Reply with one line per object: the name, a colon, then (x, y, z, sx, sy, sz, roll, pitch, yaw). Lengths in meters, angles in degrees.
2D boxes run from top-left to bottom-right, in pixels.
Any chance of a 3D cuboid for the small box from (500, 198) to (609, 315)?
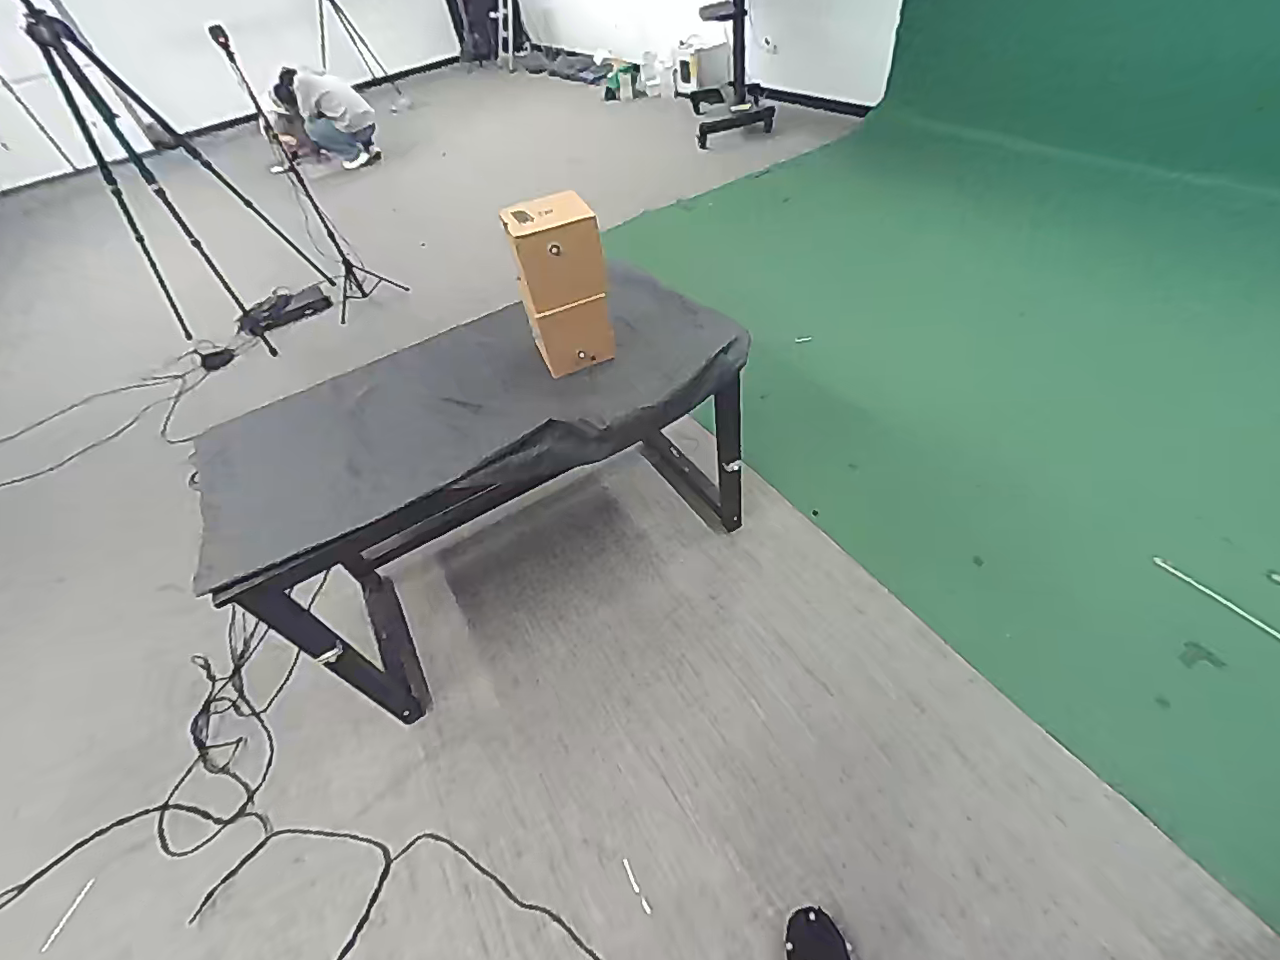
small box: (-0.185, -0.488, 1.187, 0.179, 0.176, 0.168, -21, 48, -9)
